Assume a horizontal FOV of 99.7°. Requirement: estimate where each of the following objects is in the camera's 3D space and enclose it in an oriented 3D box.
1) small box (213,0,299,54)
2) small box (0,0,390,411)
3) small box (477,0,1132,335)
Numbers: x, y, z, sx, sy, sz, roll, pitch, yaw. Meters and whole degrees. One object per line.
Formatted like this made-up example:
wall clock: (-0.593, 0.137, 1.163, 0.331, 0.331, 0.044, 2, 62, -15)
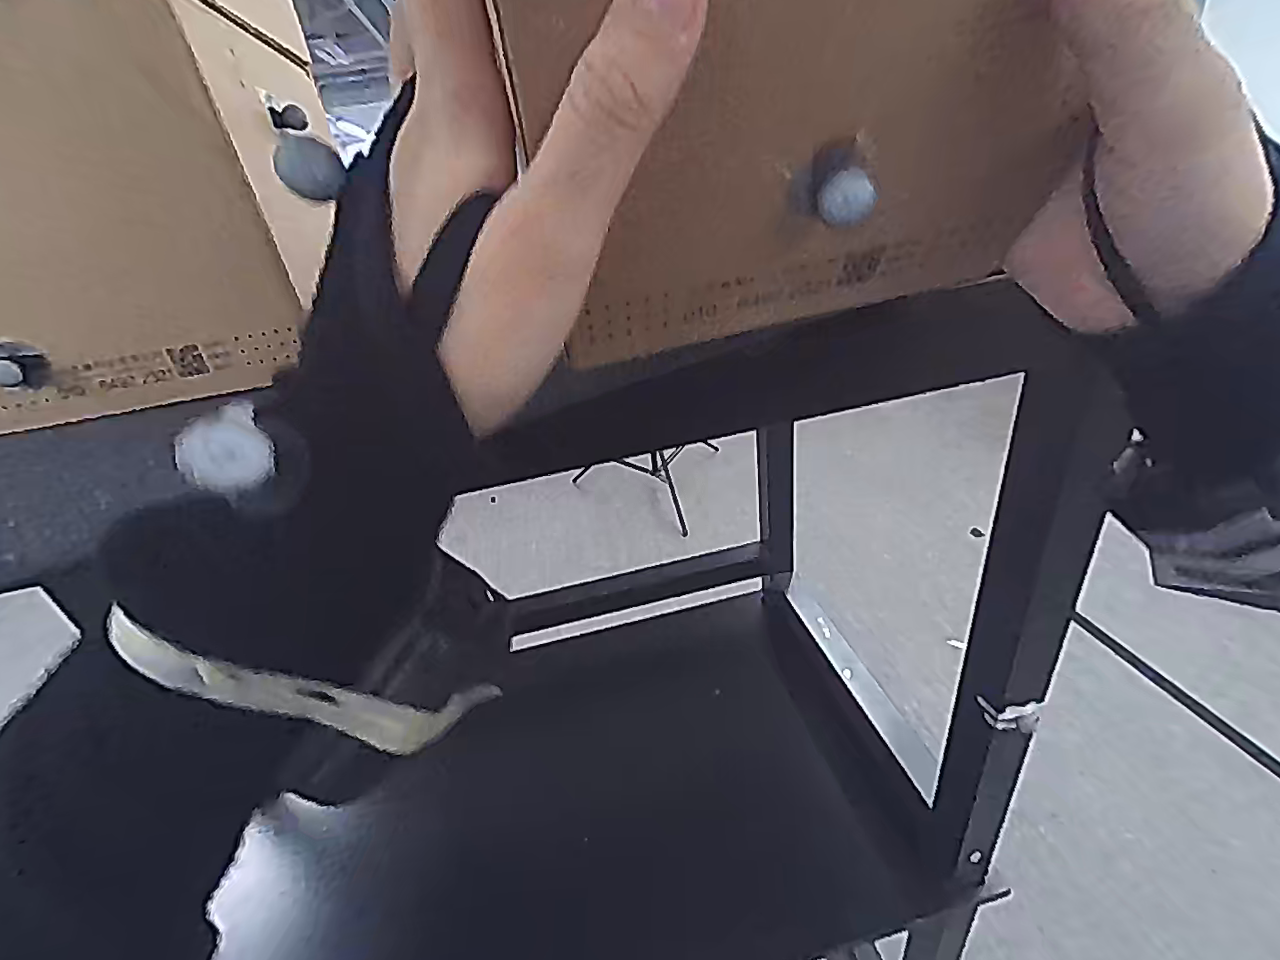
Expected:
small box: (-0.290, -0.292, 0.241, 0.168, 0.176, 0.179, -13, 29, -5)
small box: (-0.268, -0.148, 0.314, 0.168, 0.176, 0.179, -12, 27, -6)
small box: (0.029, -0.177, 0.169, 0.168, 0.176, 0.179, -15, 62, -6)
